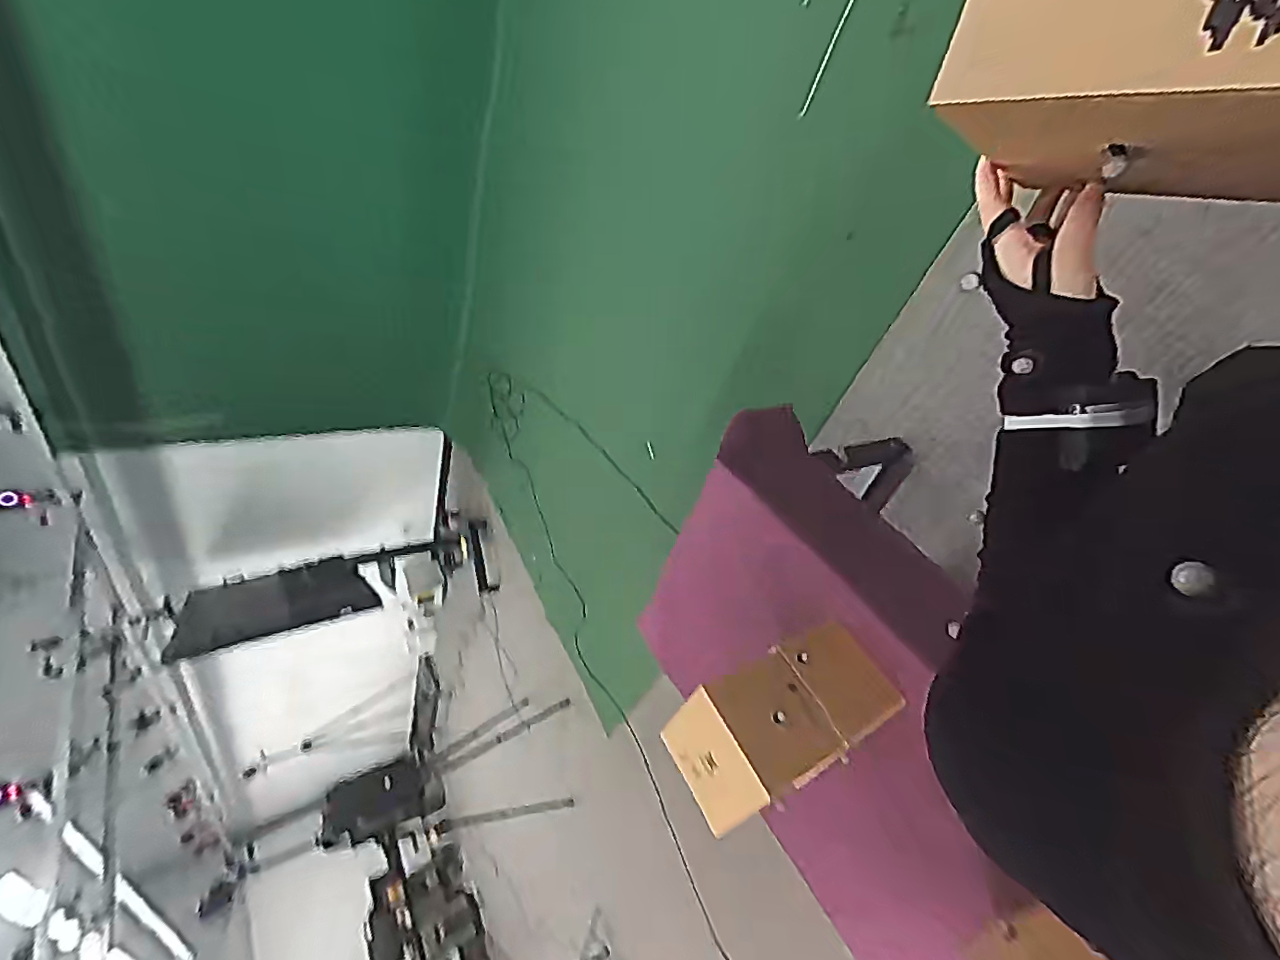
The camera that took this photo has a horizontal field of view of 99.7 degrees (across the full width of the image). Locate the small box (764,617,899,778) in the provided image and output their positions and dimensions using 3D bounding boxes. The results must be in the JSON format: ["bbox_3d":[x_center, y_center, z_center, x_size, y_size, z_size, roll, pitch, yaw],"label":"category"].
[{"bbox_3d":[0.303,0.368,0.935,0.179,0.176,0.168,54,137,34],"label":"small box"}]

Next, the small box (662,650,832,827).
[{"bbox_3d":[0.168,0.394,0.845,0.168,0.176,0.179,56,138,32],"label":"small box"}]
